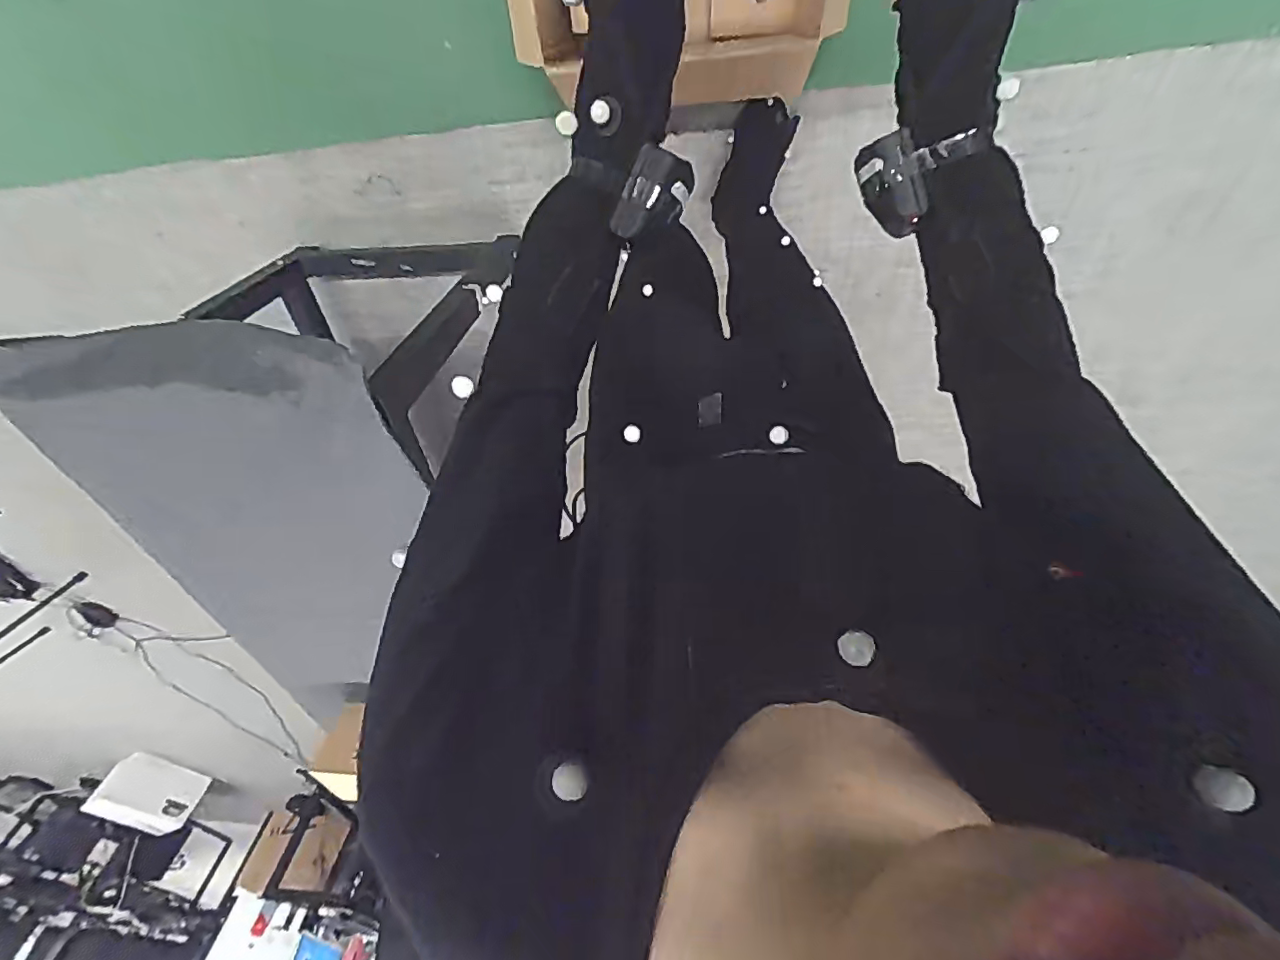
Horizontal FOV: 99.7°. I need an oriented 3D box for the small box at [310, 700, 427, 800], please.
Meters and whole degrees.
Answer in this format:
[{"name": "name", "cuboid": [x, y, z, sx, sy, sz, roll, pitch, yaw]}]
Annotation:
[{"name": "small box", "cuboid": [-0.645, 0.655, 1.318, 0.179, 0.176, 0.168, 0, 131, 9]}]
